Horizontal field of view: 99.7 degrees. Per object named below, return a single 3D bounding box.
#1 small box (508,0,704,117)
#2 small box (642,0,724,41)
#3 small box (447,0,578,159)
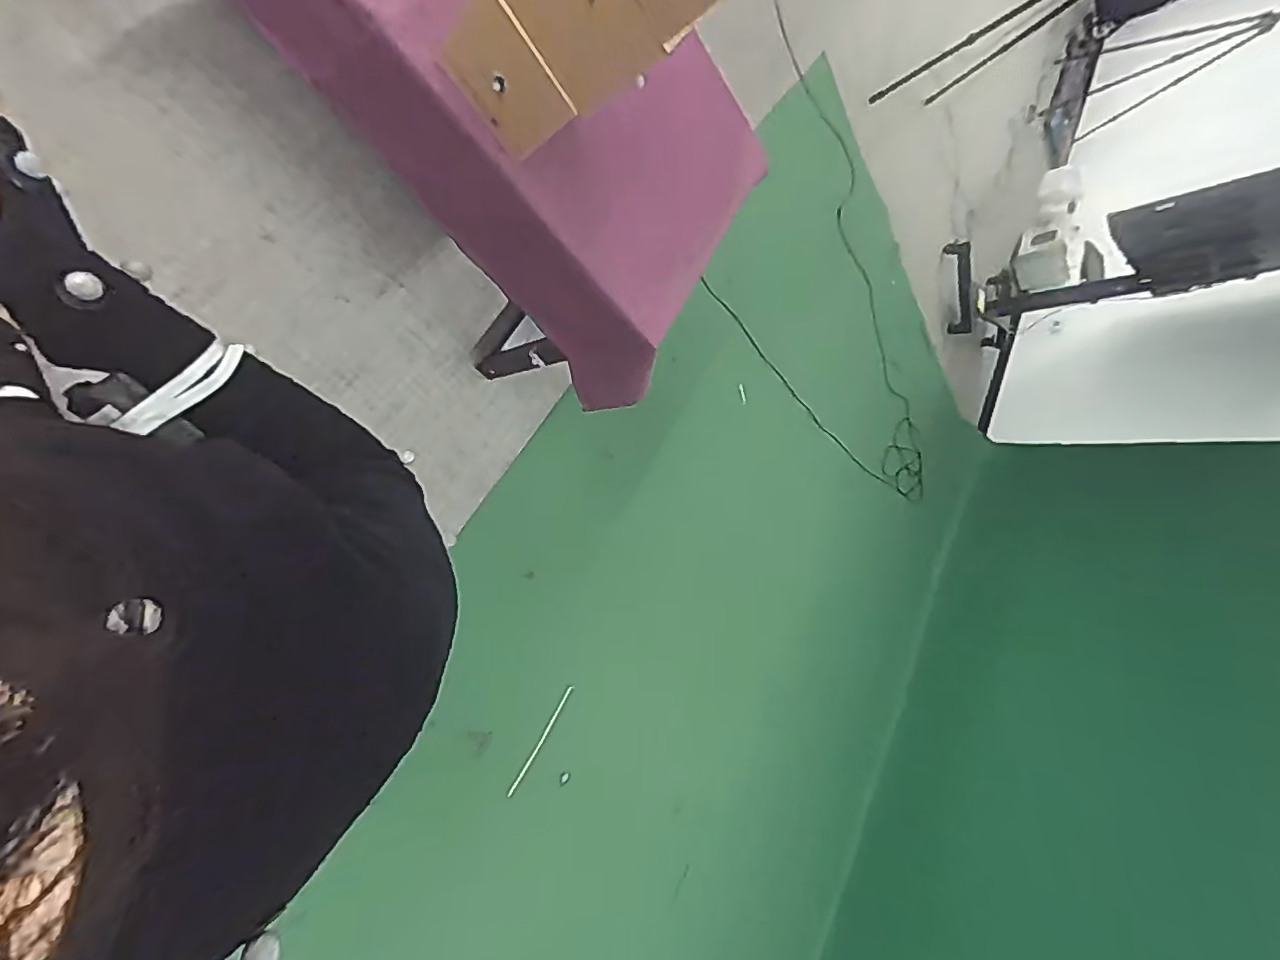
[{"bbox_3d":[-0.038,-0.605,0.670,0.179,0.176,0.168,47,63,-33],"label":"small box"},{"bbox_3d":[0.074,-0.607,0.549,0.168,0.176,0.179,47,63,-33],"label":"small box"},{"bbox_3d":[-0.153,-0.613,0.787,0.168,0.176,0.179,47,63,-33],"label":"small box"}]
